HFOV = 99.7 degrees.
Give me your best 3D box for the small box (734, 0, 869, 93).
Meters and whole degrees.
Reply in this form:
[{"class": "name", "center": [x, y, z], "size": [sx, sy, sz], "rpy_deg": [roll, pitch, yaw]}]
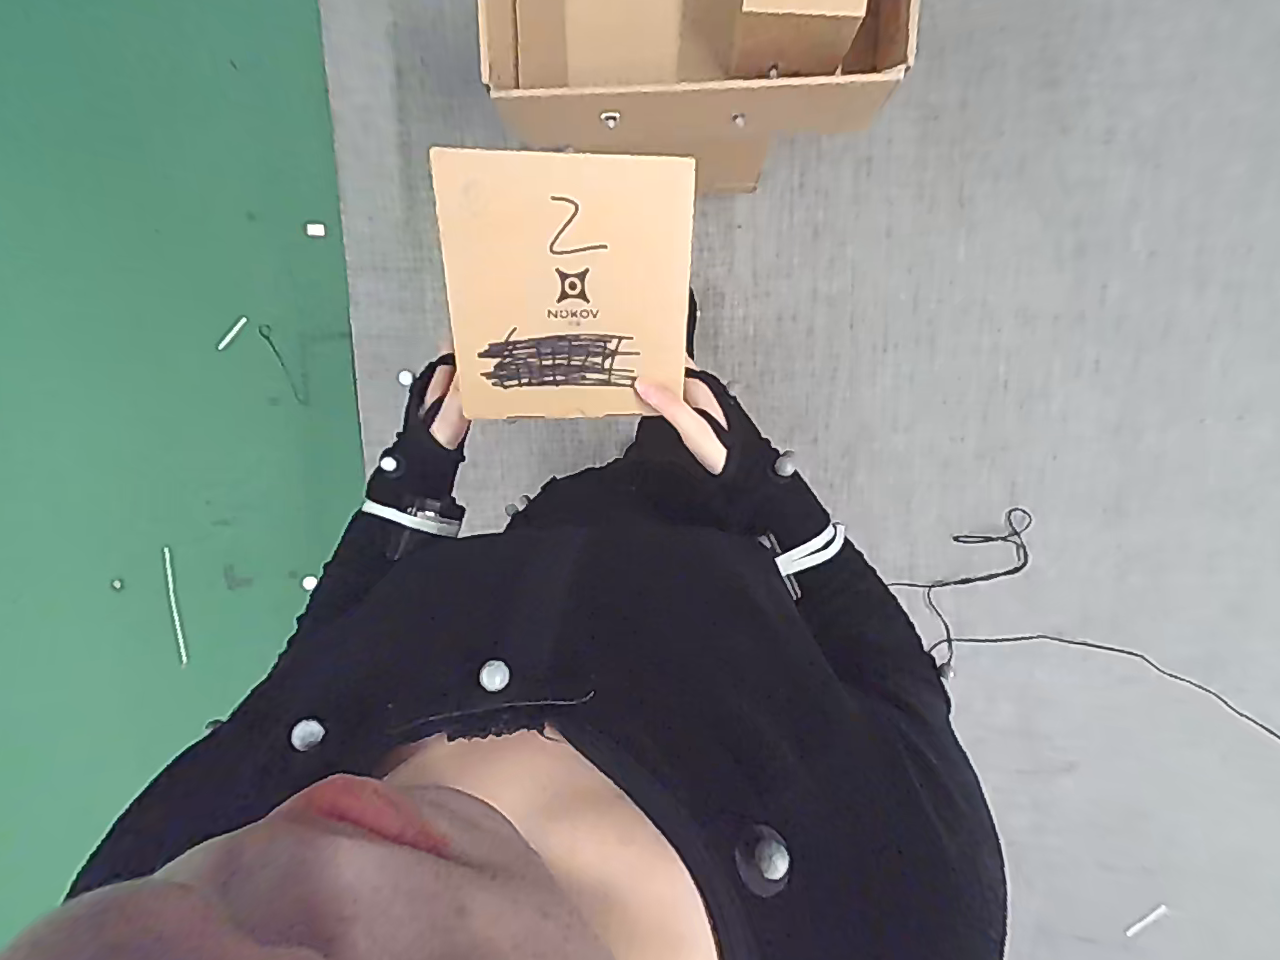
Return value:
[{"class": "small box", "center": [0.234, -0.712, 0.790], "size": [0.168, 0.176, 0.179], "rpy_deg": [6, 99, 4]}]
